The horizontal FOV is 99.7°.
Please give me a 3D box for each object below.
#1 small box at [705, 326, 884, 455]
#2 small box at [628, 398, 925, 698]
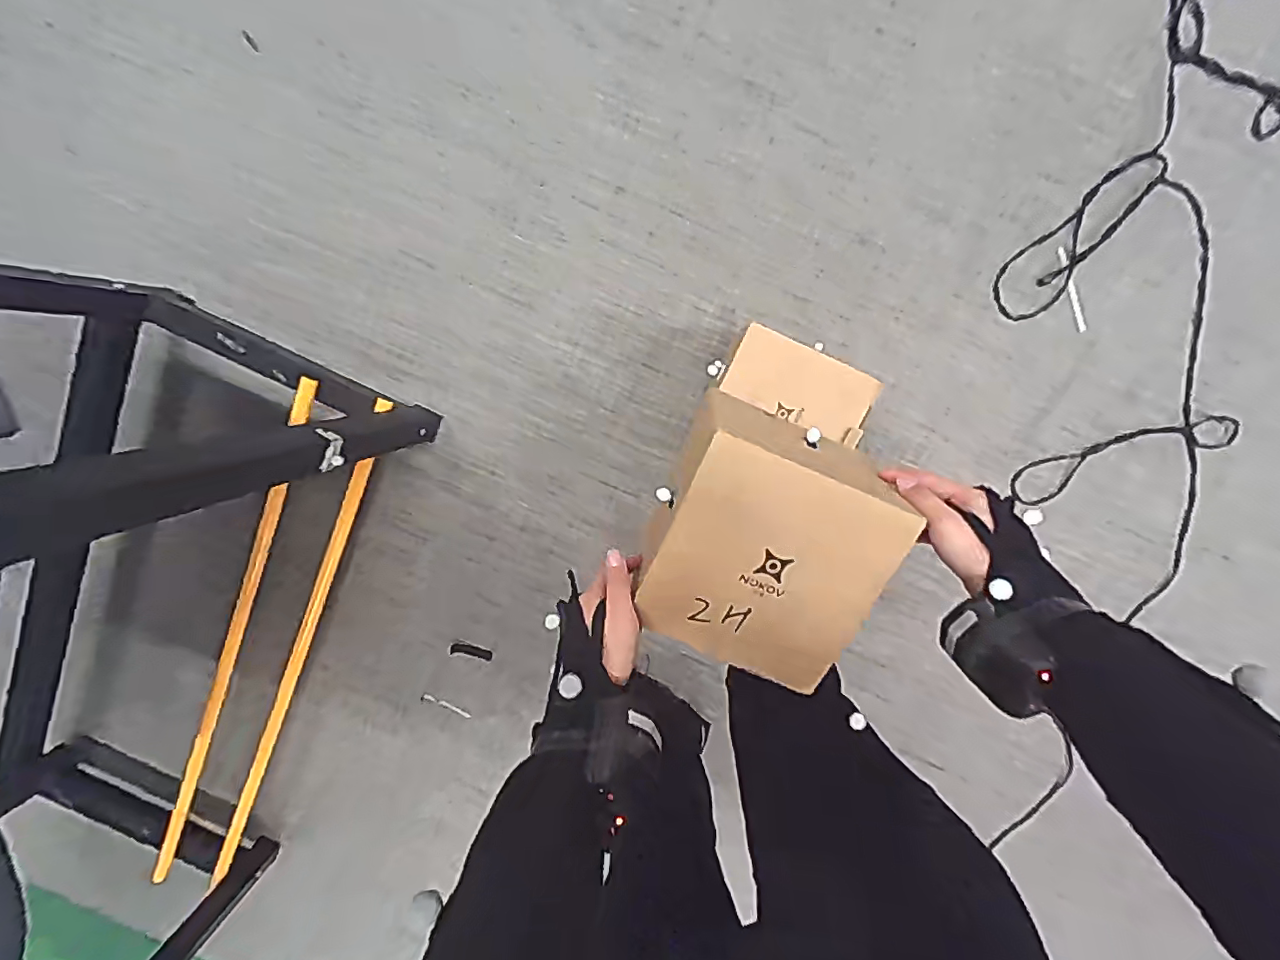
[{"bbox_3d":[0.185,-0.091,0.727,0.179,0.176,0.168,25,102,1],"label":"small box"},{"bbox_3d":[0.103,0.045,0.478,0.168,0.176,0.179,23,111,-2],"label":"small box"}]
